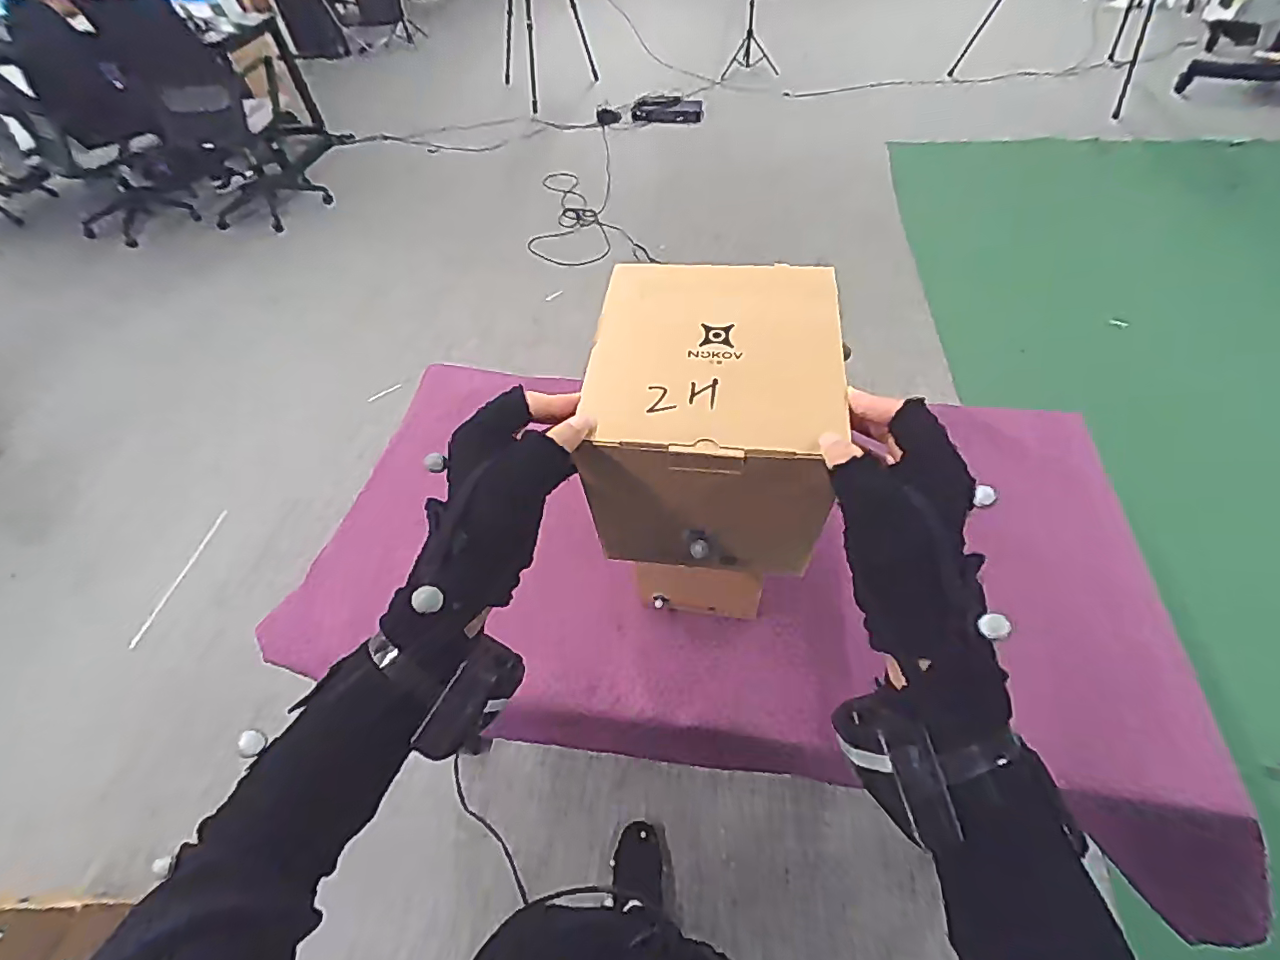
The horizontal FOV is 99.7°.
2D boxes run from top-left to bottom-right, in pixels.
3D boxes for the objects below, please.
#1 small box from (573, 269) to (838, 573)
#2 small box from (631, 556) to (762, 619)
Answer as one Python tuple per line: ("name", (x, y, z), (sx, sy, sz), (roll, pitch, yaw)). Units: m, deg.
("small box", (0.055, -0.045, 0.441), (0.168, 0.176, 0.179), (4, 57, 9))
("small box", (0.089, 0.076, 0.758), (0.168, 0.176, 0.179), (6, 52, 10))
